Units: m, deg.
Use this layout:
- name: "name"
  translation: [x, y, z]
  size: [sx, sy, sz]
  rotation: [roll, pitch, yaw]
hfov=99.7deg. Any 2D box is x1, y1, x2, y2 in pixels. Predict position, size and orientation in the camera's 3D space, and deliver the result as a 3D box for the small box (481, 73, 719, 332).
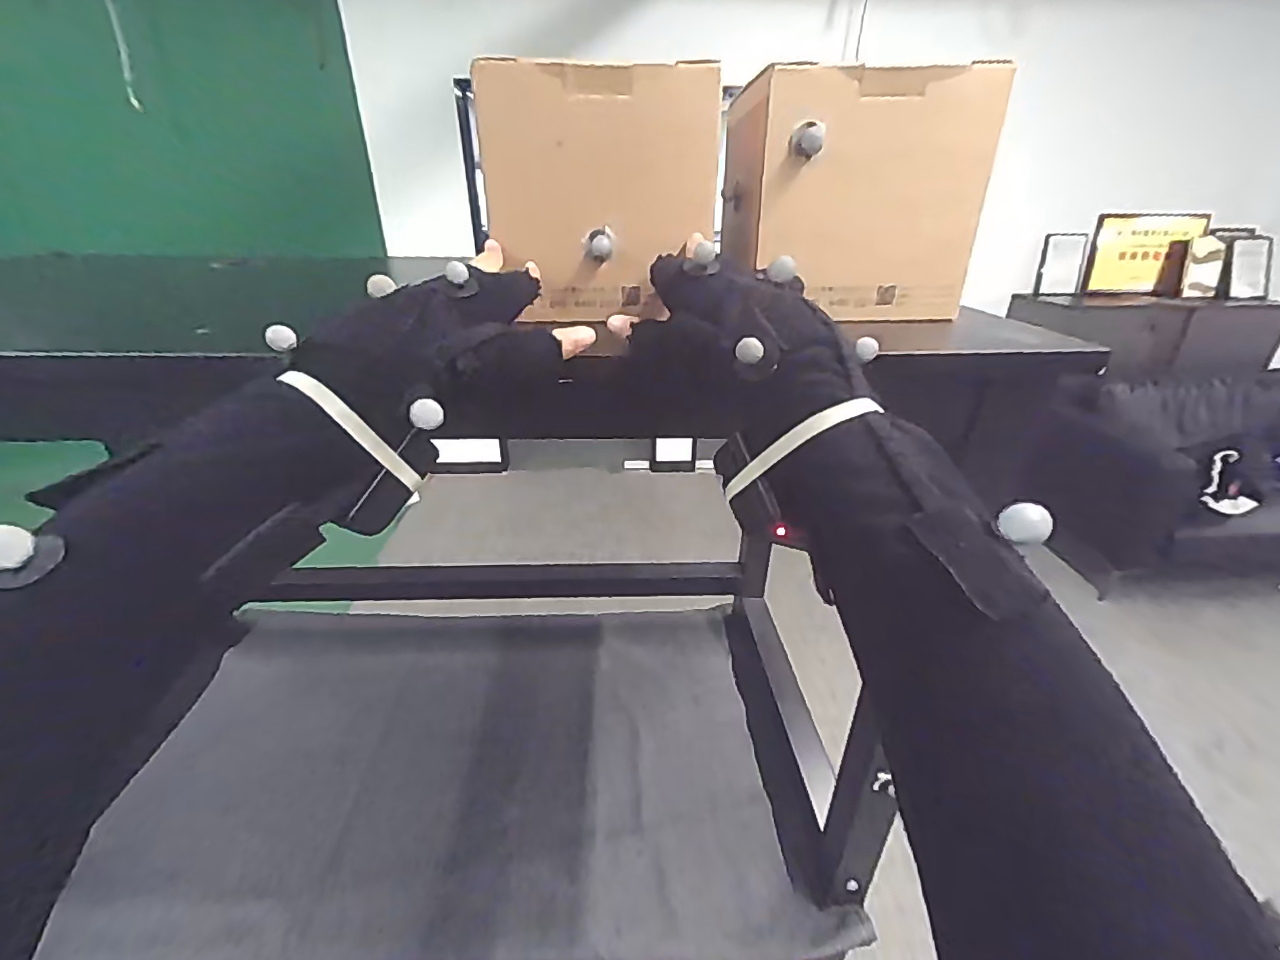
- name: "small box"
  translation: [-0.031, -0.233, 0.474]
  size: [0.168, 0.176, 0.179]
  rotation: [-1, 27, -3]
